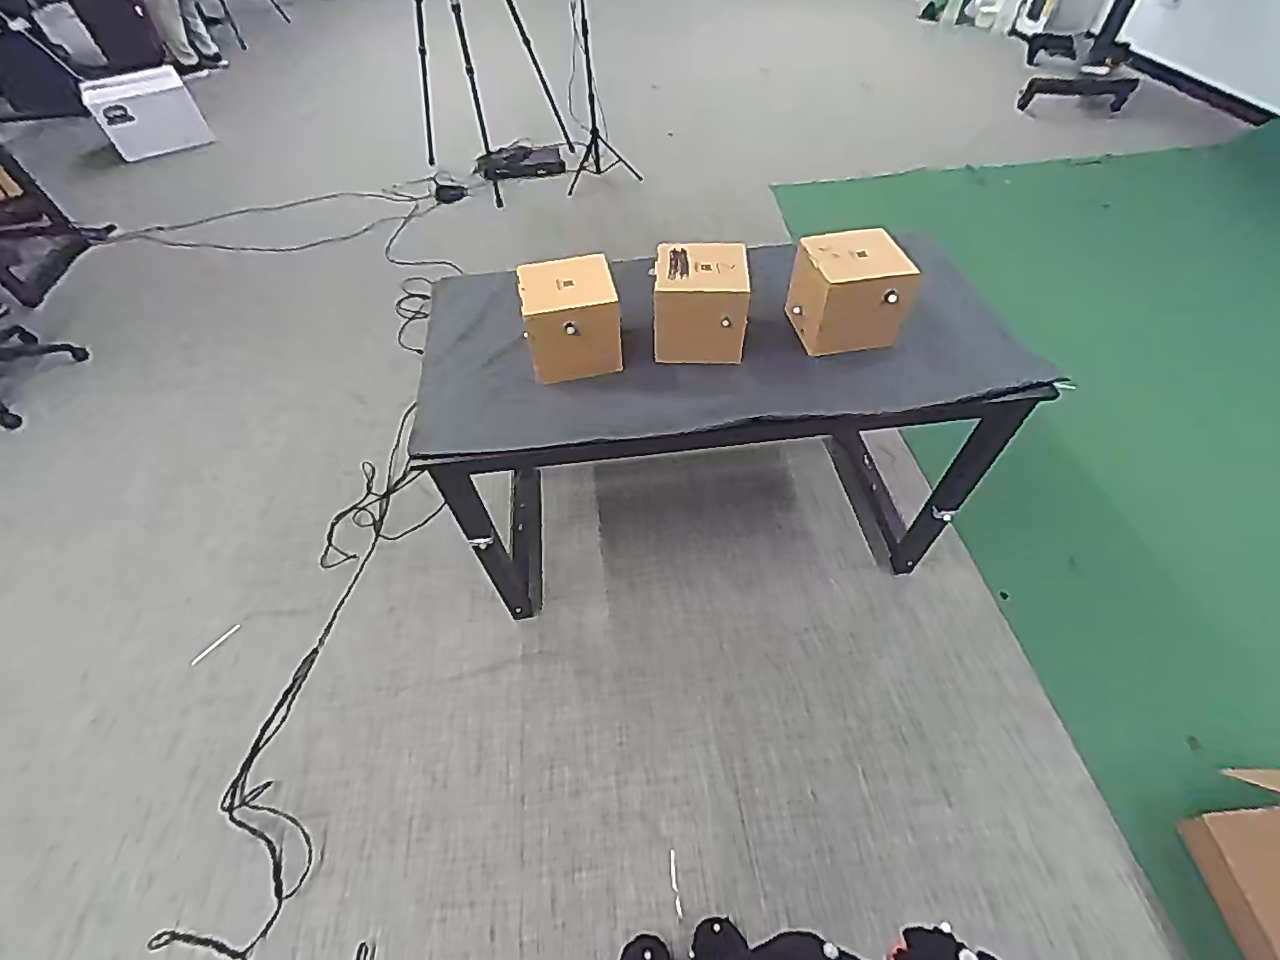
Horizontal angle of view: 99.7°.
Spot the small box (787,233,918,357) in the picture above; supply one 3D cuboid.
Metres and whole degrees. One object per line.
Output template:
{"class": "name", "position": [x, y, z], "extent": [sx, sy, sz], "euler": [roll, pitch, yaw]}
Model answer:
{"class": "small box", "position": [0.415, -0.370, 1.091], "extent": [0.179, 0.176, 0.168], "euler": [-9, 52, -3]}

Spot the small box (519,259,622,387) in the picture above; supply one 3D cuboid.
{"class": "small box", "position": [-0.134, -0.310, 1.078], "extent": [0.179, 0.176, 0.168], "euler": [-11, 53, -5]}
